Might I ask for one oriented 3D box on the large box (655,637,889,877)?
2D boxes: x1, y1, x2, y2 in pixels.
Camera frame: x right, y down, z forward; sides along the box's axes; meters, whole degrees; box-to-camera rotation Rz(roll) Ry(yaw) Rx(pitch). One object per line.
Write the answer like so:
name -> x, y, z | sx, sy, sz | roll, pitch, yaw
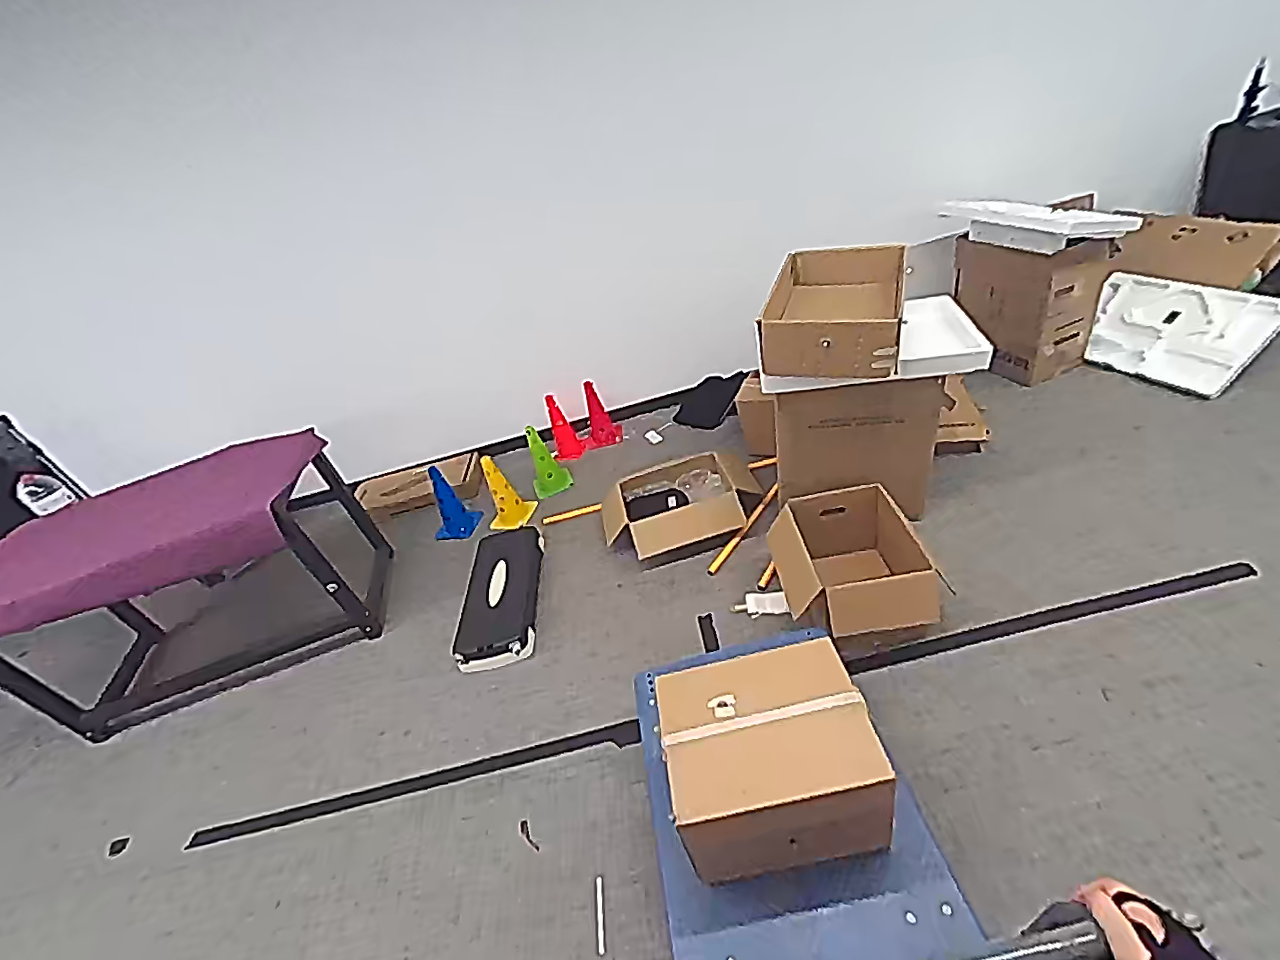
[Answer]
large box -> 0.278, 0.606, 1.187 | 0.408, 0.320, 0.320 | -15, 34, 3
